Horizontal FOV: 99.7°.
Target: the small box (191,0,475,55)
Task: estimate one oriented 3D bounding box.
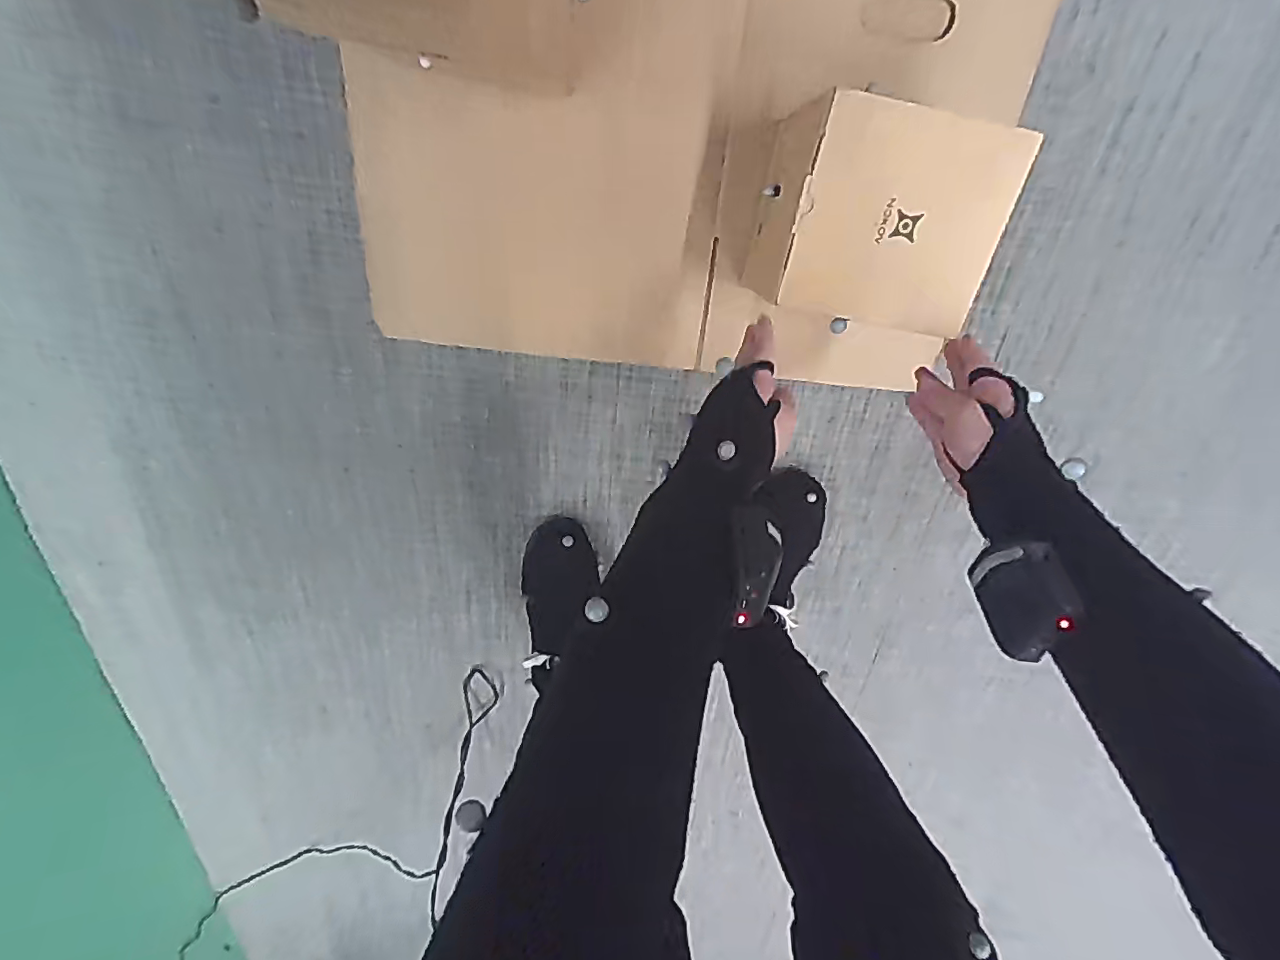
[{"bbox_3d":[-0.157,-0.261,0.164,0.179,0.176,0.168,11,118,-4],"label":"small box"}]

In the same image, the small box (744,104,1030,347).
[{"bbox_3d":[0.215,-0.243,0.531,0.179,0.176,0.168,9,116,-2],"label":"small box"}]
